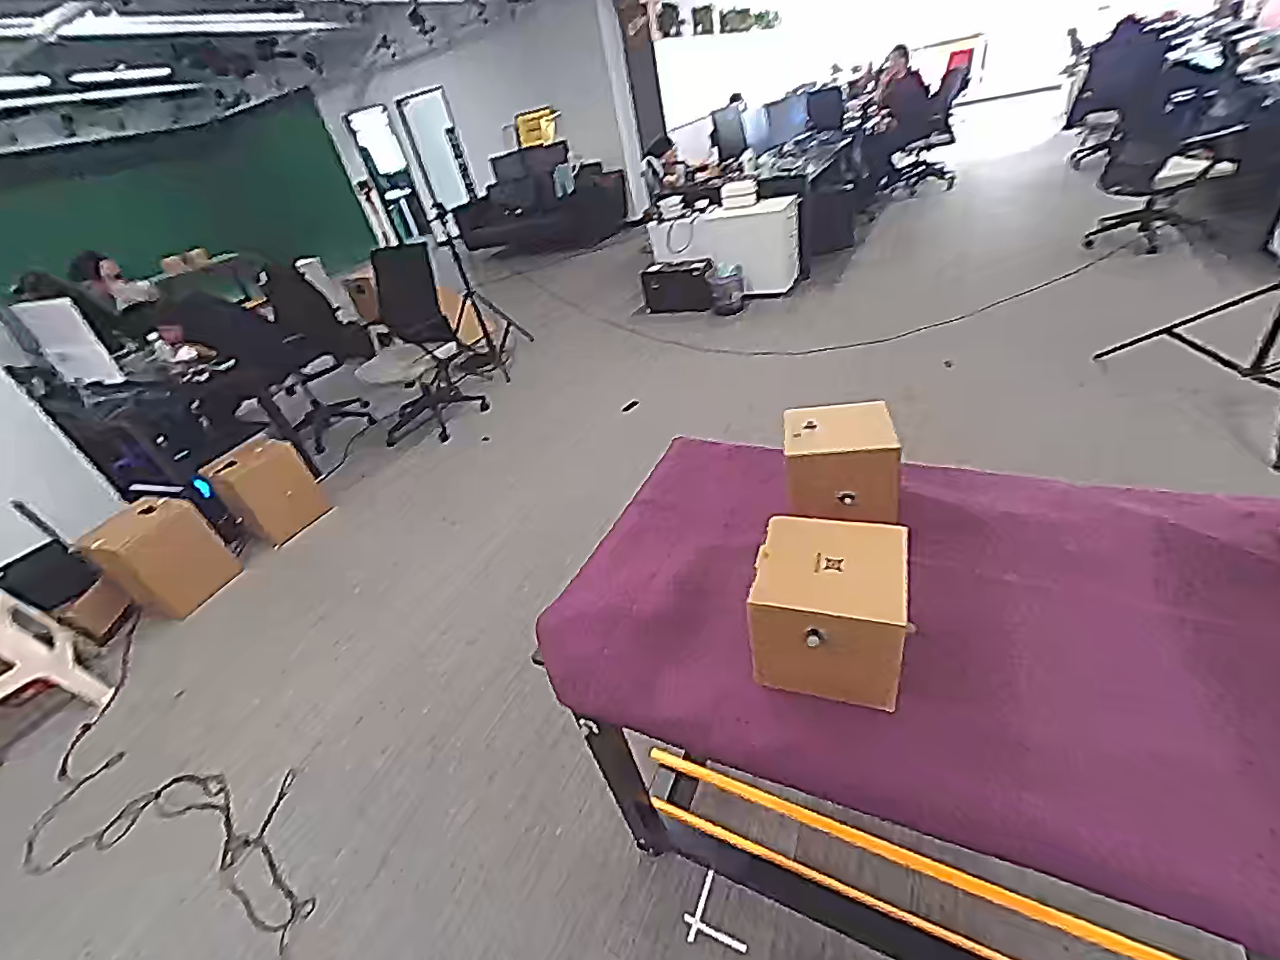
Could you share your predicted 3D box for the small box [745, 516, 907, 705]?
[{"bbox_3d":[0.249,0.170,0.716,0.179,0.176,0.168,3,37,24],"label":"small box"}]
